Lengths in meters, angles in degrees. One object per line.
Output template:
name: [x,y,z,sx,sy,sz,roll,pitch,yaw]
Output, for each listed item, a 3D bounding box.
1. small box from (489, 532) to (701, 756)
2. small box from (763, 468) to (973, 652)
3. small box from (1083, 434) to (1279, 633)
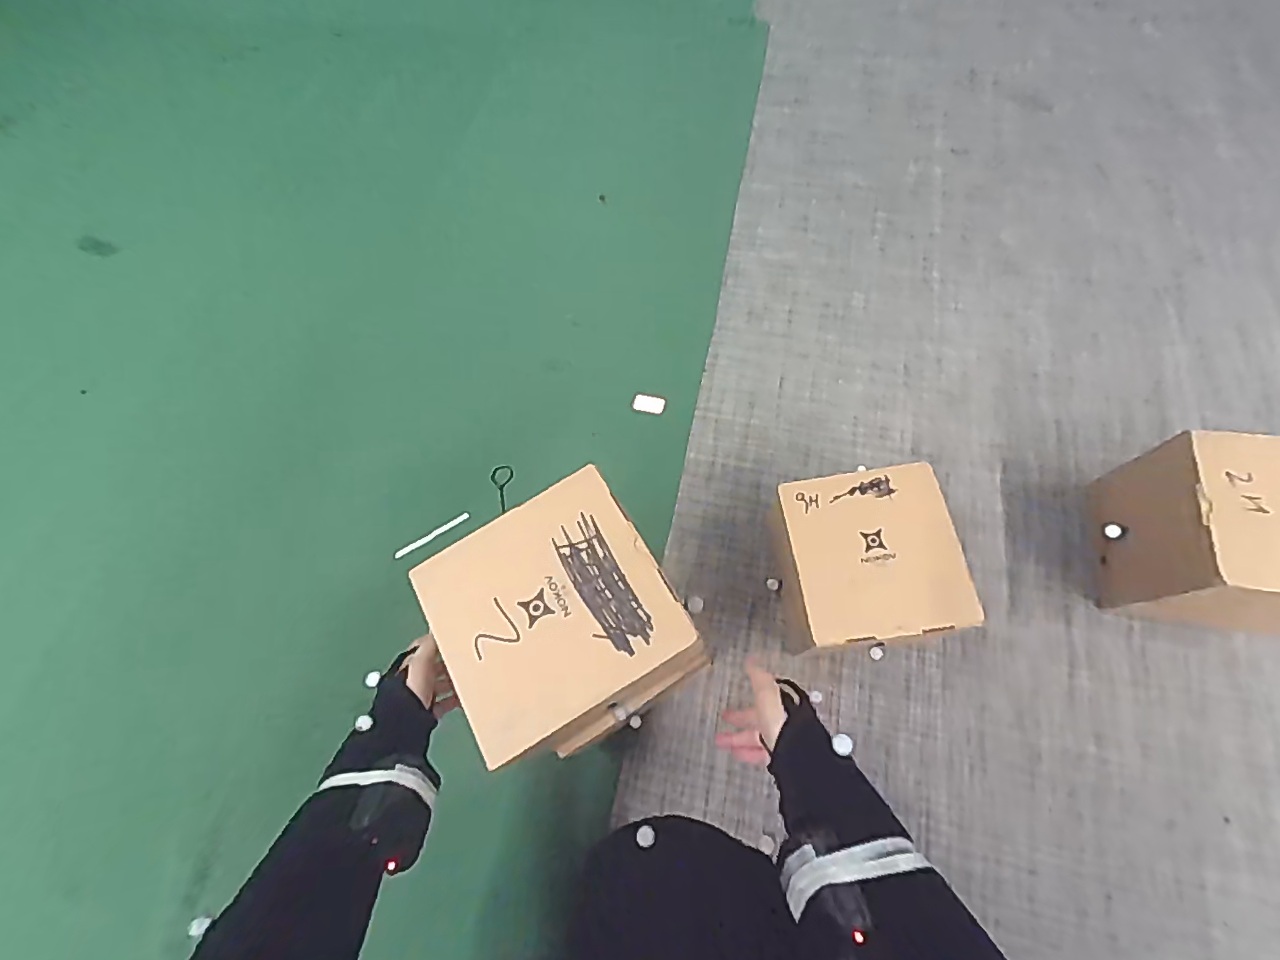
small box: [-0.041,0.193,0.633,0.179,0.176,0.168,-32,68,-7]
small box: [0.245,0.104,0.630,0.168,0.176,0.179,-8,69,4]
small box: [0.640,0.067,0.592,0.179,0.176,0.168,7,69,9]
